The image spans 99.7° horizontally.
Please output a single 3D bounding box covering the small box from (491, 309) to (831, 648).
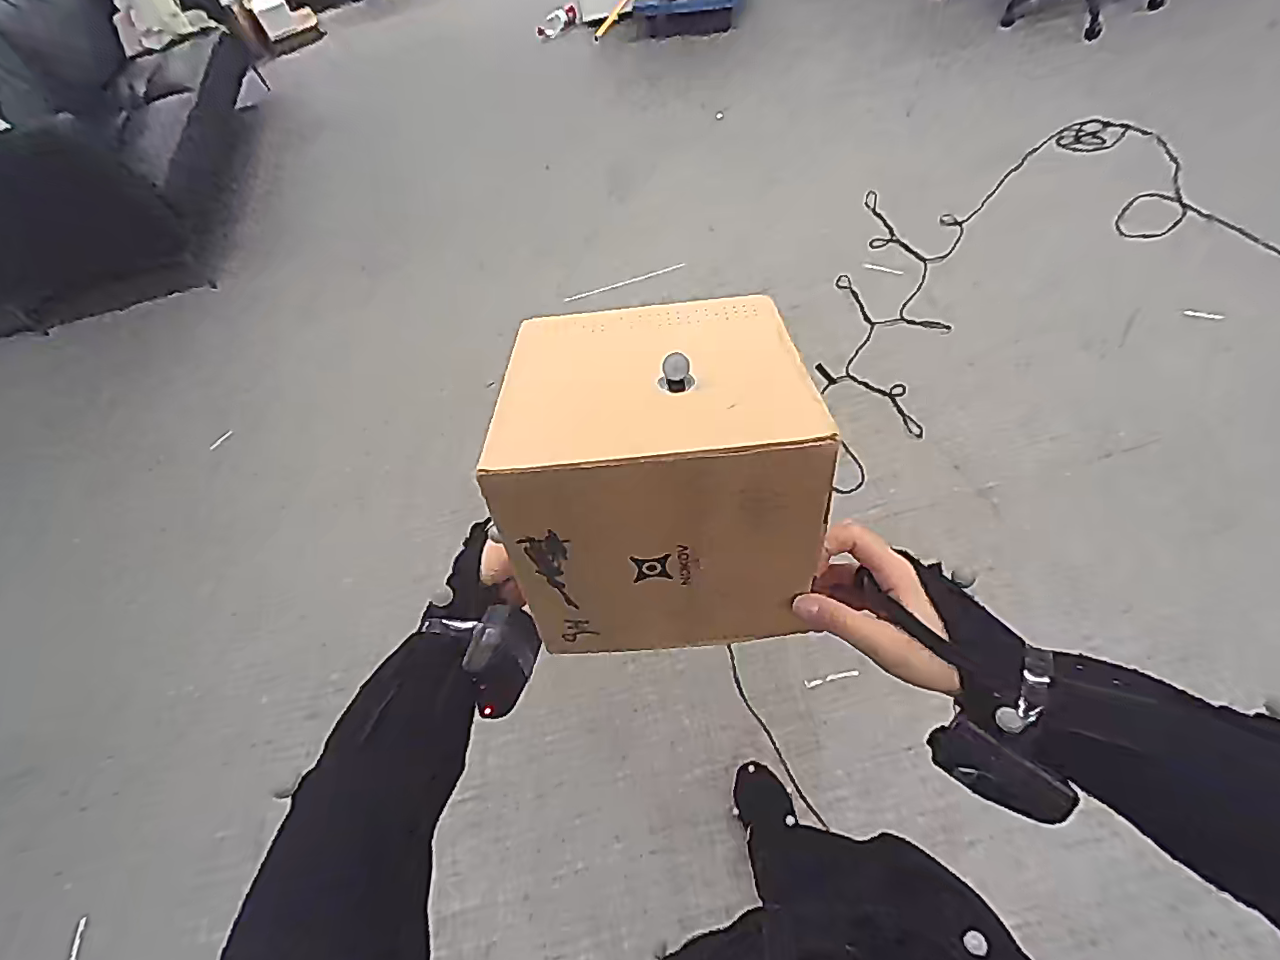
[{"bbox_3d":[0.013,-0.006,0.380,0.179,0.168,0.176,-6,40,2],"label":"small box"}]
